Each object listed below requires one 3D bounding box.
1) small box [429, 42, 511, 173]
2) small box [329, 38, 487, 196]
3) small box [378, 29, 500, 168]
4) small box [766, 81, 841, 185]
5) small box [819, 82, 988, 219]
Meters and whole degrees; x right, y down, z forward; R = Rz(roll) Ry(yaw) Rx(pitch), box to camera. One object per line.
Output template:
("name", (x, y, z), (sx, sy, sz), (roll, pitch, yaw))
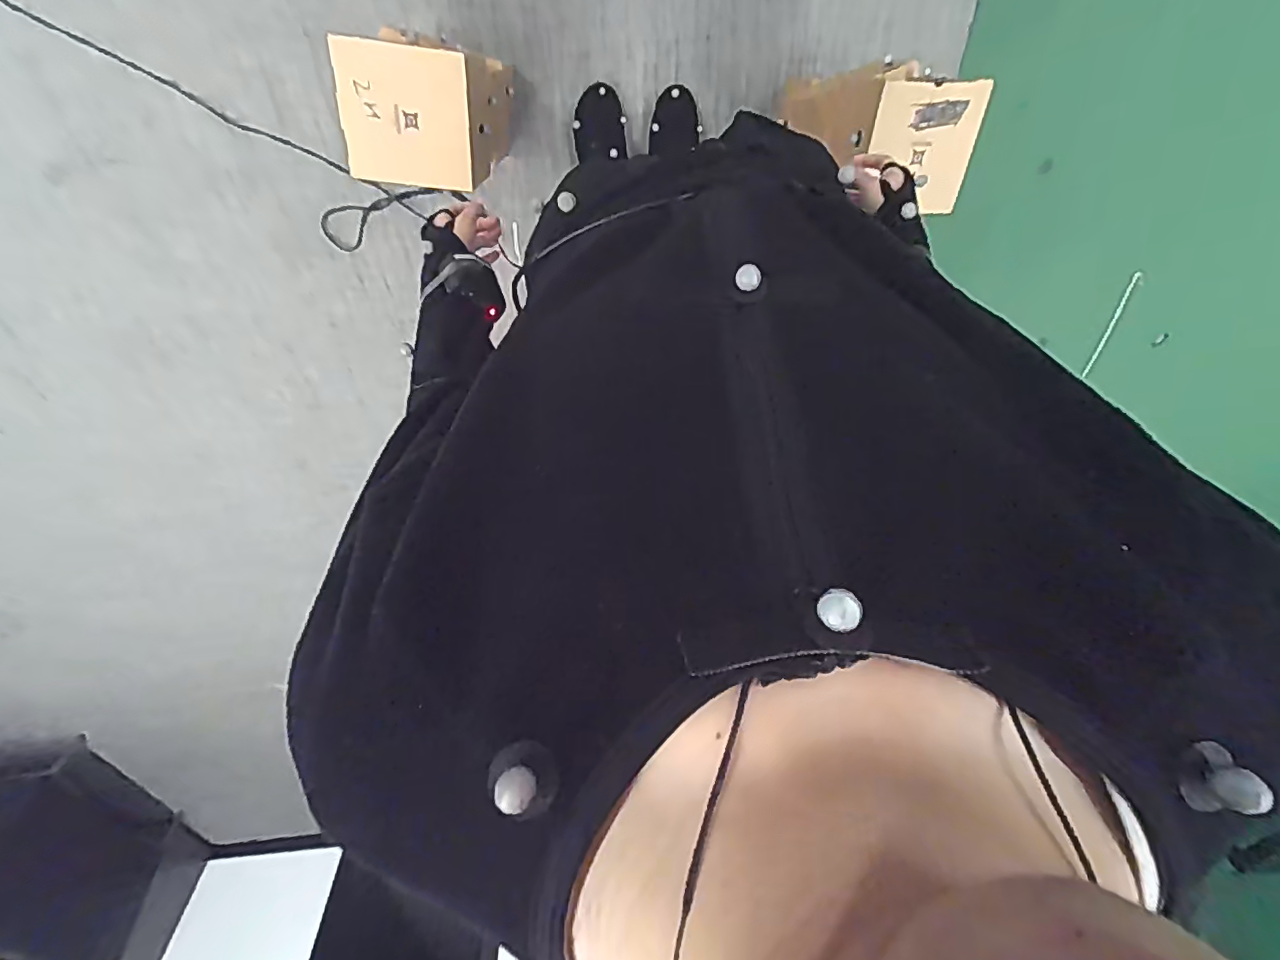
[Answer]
("small box", (-0.353, -0.738, 1.069), (0.168, 0.176, 0.179), (9, 126, -12))
("small box", (-0.328, -0.540, 0.810), (0.179, 0.176, 0.168), (4, 125, -7))
("small box", (-0.349, -0.639, 0.941), (0.168, 0.176, 0.179), (15, 123, -14))
("small box", (0.385, -0.729, 1.147), (0.179, 0.176, 0.168), (5, 126, -9))
("small box", (0.411, -0.538, 0.881), (0.168, 0.176, 0.179), (-2, 128, -5))
